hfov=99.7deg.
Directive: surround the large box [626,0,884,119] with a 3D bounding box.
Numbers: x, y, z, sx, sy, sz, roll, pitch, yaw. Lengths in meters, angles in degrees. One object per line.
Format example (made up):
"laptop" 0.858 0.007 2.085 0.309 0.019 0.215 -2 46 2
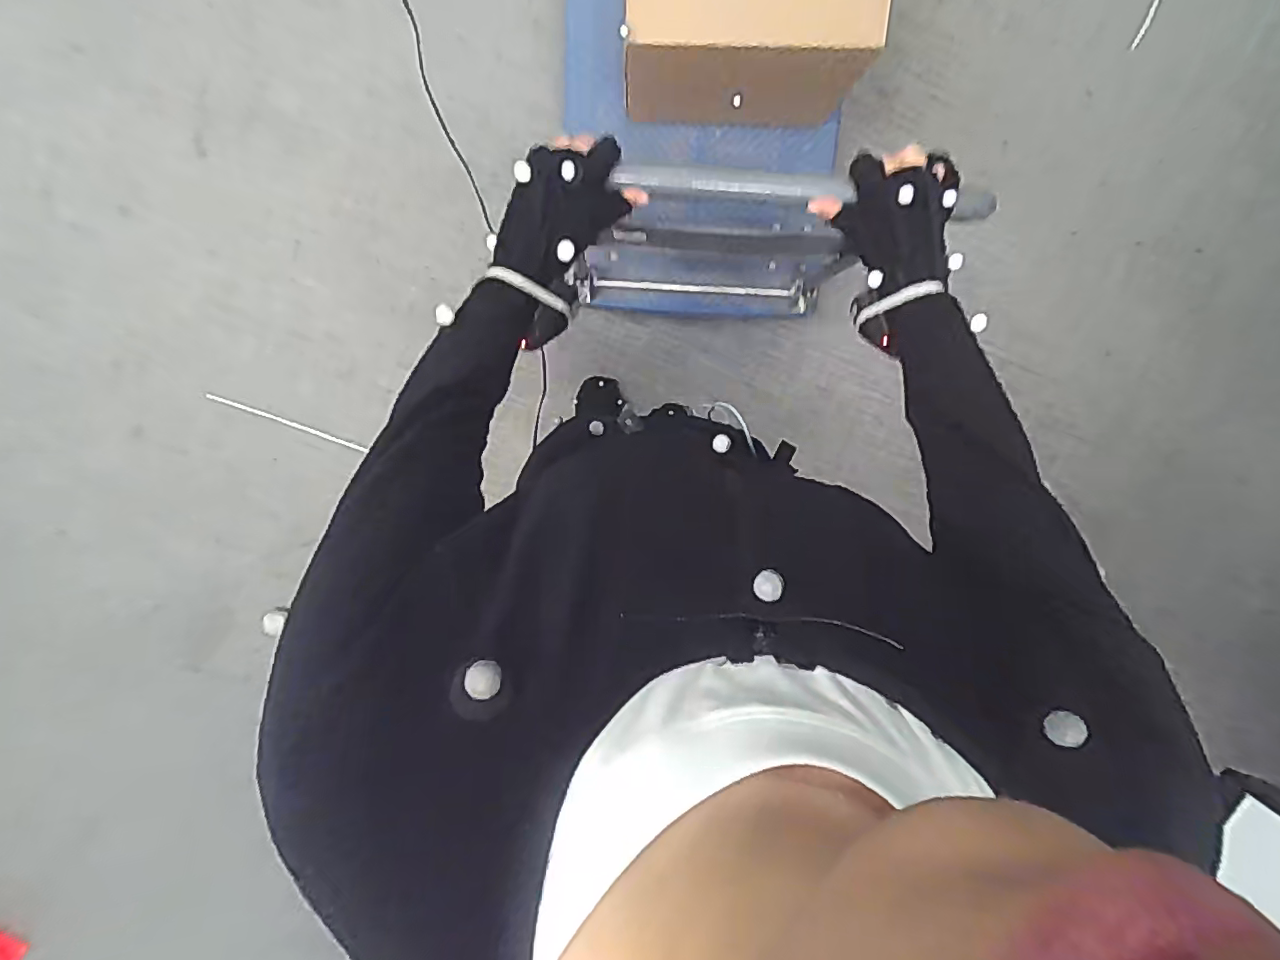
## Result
"large box" 0.178 -0.868 0.954 0.408 0.320 0.320 0 103 0
